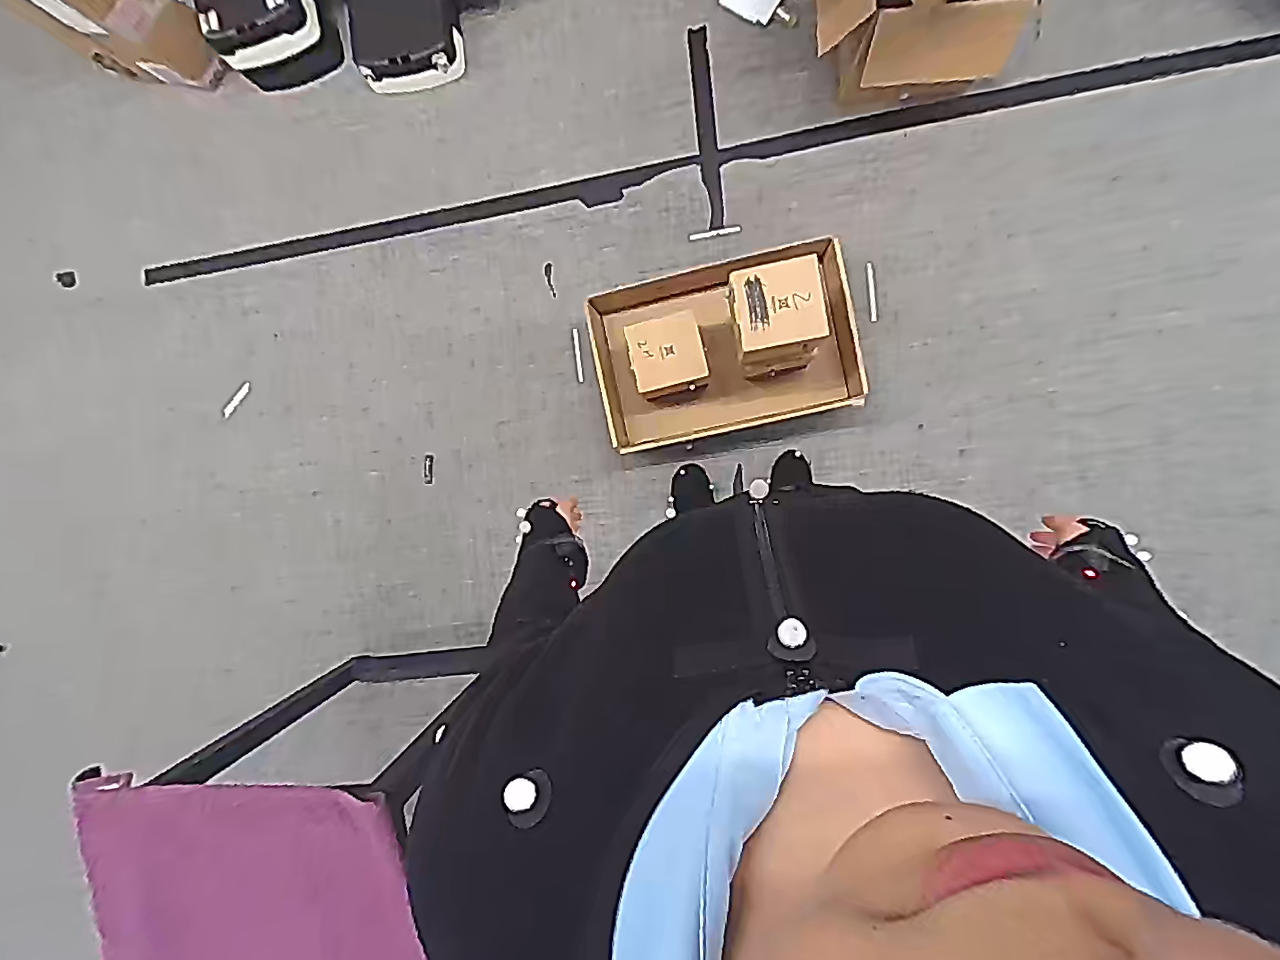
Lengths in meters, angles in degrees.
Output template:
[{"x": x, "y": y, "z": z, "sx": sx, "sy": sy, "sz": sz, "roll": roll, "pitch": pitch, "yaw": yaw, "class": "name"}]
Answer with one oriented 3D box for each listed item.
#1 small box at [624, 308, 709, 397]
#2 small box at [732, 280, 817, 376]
[{"x": 0.069, "y": -0.313, "z": 1.360, "sx": 0.179, "sy": 0.176, "sz": 0.168, "roll": -13, "pitch": 91, "yaw": 7, "class": "small box"}, {"x": 0.322, "y": -0.364, "z": 1.327, "sx": 0.168, "sy": 0.176, "sz": 0.179, "roll": -11, "pitch": 92, "yaw": 9, "class": "small box"}]
